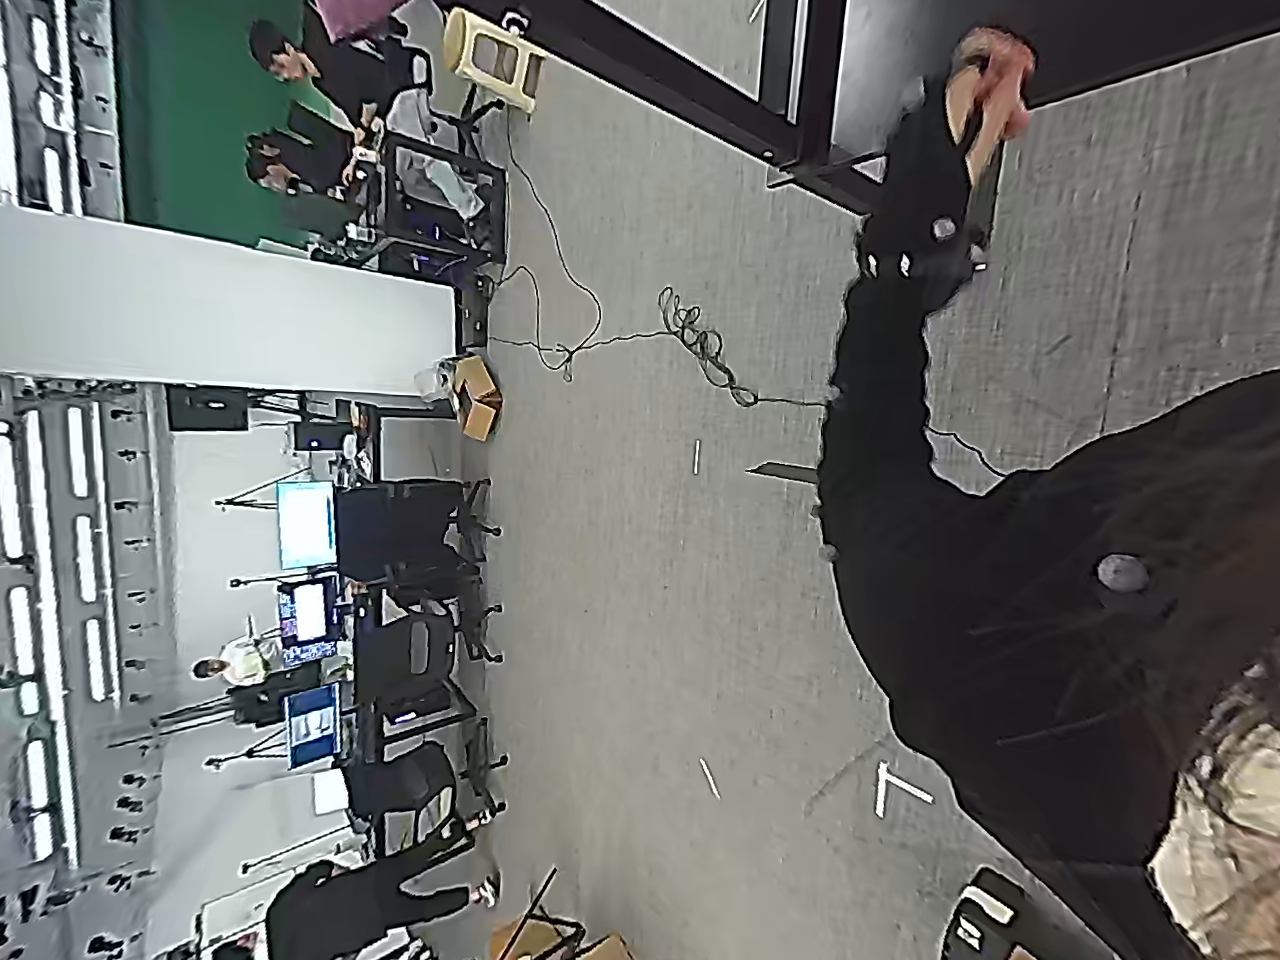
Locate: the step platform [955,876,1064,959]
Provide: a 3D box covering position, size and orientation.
[{"bbox_3d":[1.032,1.217,1.108,0.684,0.204,0.286,22,109,48],"label":"step platform"}]
